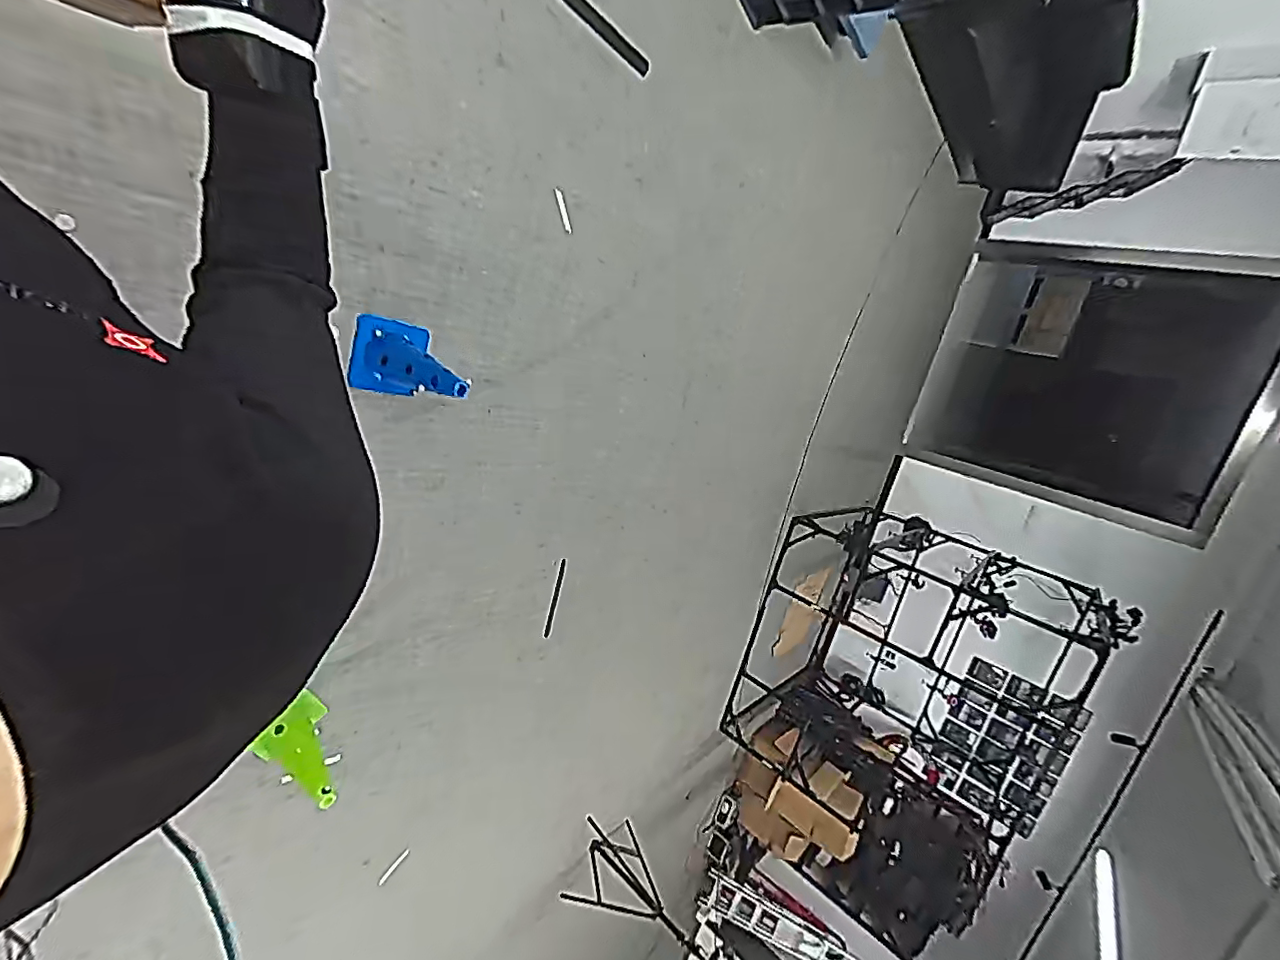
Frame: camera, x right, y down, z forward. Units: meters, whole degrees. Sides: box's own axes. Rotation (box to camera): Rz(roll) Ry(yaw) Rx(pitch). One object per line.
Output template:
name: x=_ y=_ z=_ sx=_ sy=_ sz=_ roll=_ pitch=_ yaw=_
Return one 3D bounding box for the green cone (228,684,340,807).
green cone: x=-0.940 y=0.781 z=1.507 sx=0.202 sy=0.368 sz=0.200 roll=-43 pitch=140 yaw=-30

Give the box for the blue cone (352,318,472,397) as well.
blue cone: x=-0.563 y=-0.280 z=1.393 sx=0.192 sy=0.380 sz=0.193 roll=4 pitch=107 yaw=-54

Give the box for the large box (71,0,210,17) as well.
large box: x=-0.479 y=-0.486 z=0.235 sx=0.408 sy=0.320 sz=0.320 roll=-10 pitch=126 yaw=-49
